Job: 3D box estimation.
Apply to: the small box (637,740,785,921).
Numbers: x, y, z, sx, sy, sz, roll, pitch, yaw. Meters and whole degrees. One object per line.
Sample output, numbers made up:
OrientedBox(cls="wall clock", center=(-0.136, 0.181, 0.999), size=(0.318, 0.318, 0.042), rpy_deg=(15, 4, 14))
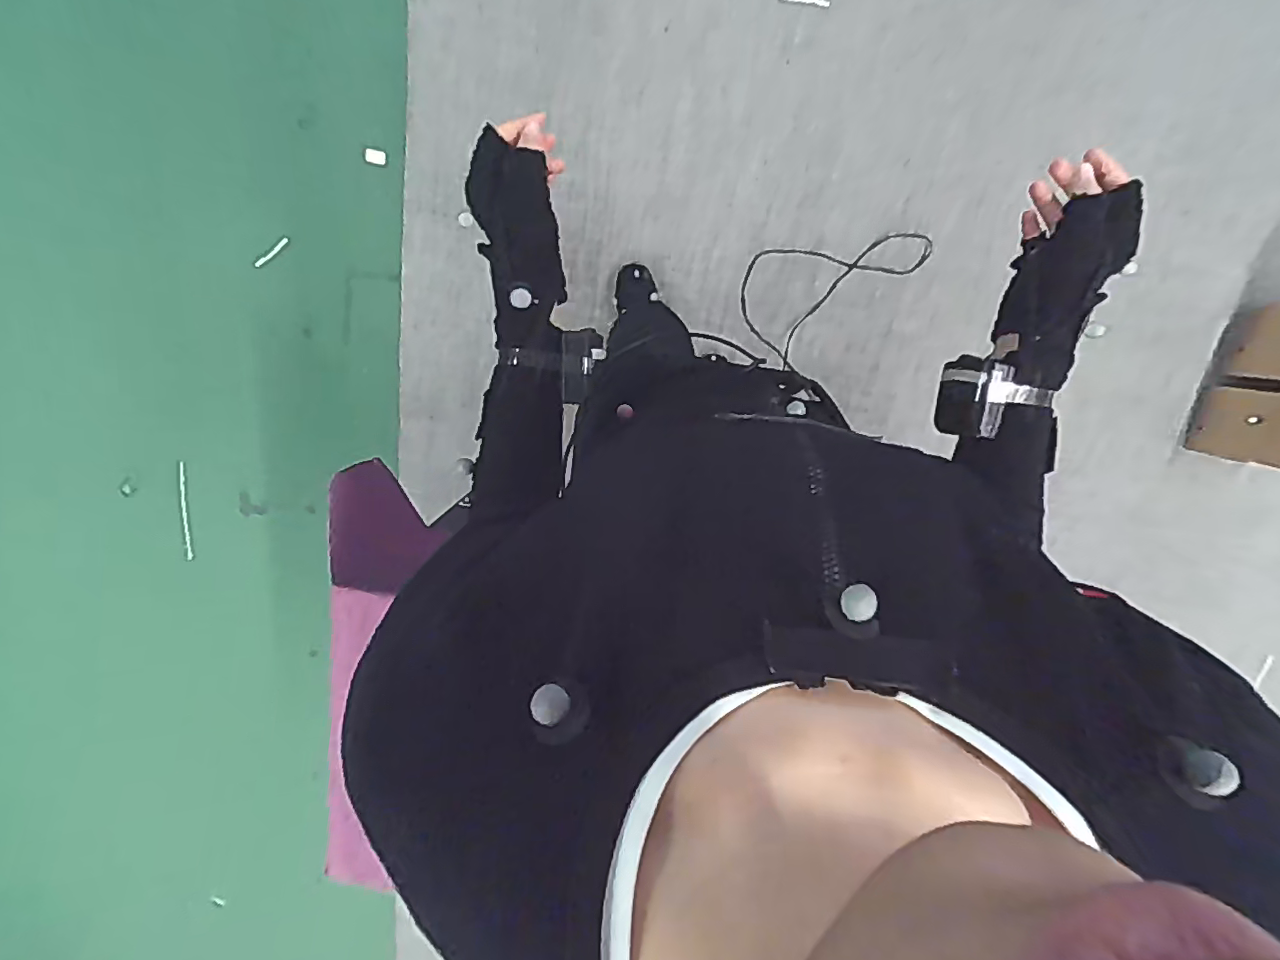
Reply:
OrientedBox(cls="small box", center=(0.095, 0.515, 0.787), size=(0.168, 0.176, 0.179), rpy_deg=(11, 106, 1))

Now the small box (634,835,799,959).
OrientedBox(cls="small box", center=(0.083, 0.566, 0.631), size=(0.168, 0.176, 0.179), rpy_deg=(11, 105, 1))
